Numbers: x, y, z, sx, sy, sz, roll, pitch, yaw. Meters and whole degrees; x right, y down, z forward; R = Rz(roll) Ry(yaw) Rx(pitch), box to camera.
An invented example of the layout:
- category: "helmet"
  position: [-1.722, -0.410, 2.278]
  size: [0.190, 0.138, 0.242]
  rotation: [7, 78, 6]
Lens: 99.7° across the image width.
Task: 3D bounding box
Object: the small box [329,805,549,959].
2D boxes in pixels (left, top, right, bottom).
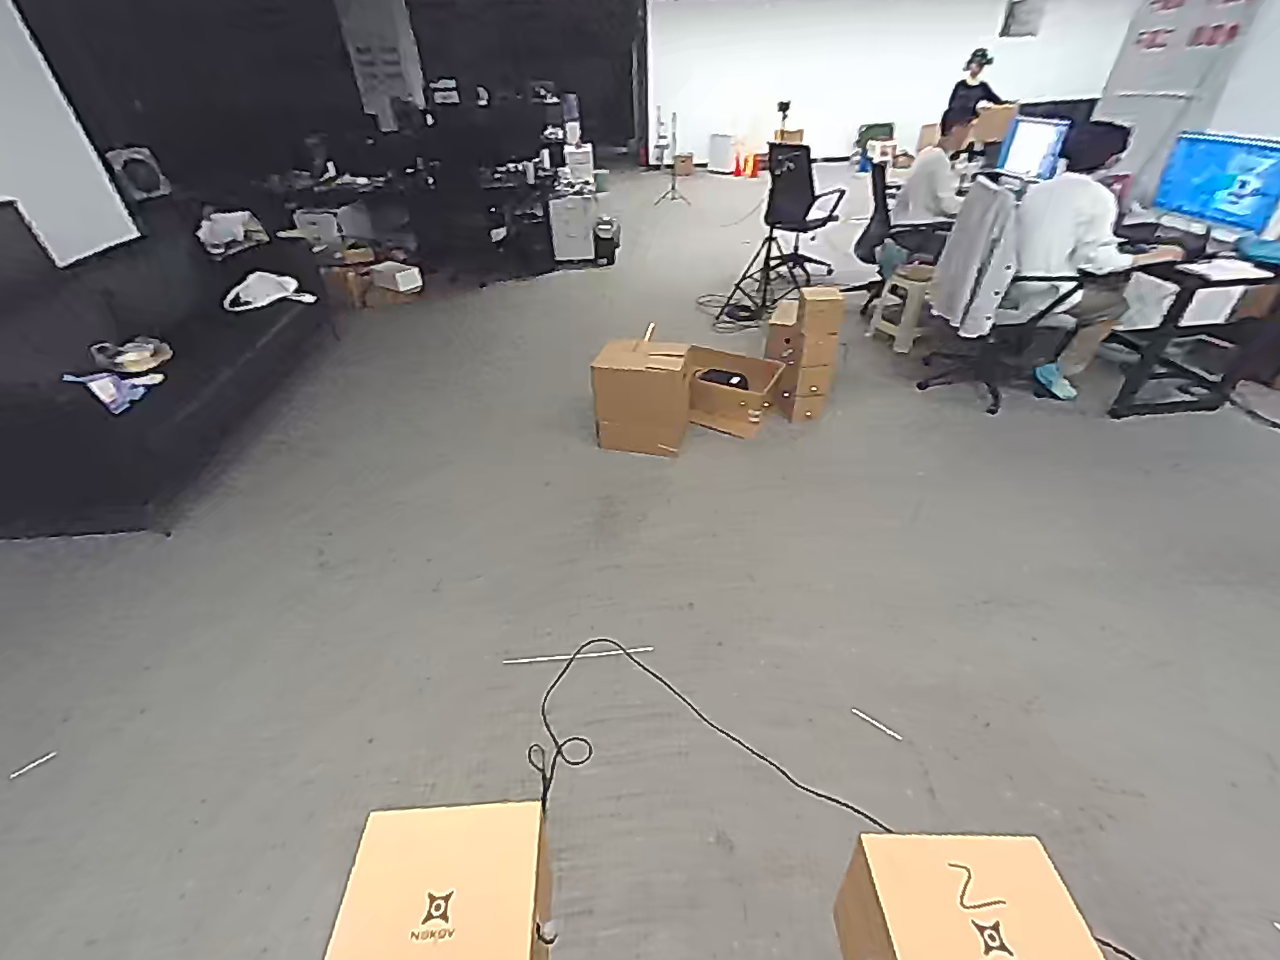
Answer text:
- category: "small box"
  position: [-0.177, 0.442, 0.511]
  size: [0.168, 0.176, 0.179]
  rotation: [-2, 35, -4]
